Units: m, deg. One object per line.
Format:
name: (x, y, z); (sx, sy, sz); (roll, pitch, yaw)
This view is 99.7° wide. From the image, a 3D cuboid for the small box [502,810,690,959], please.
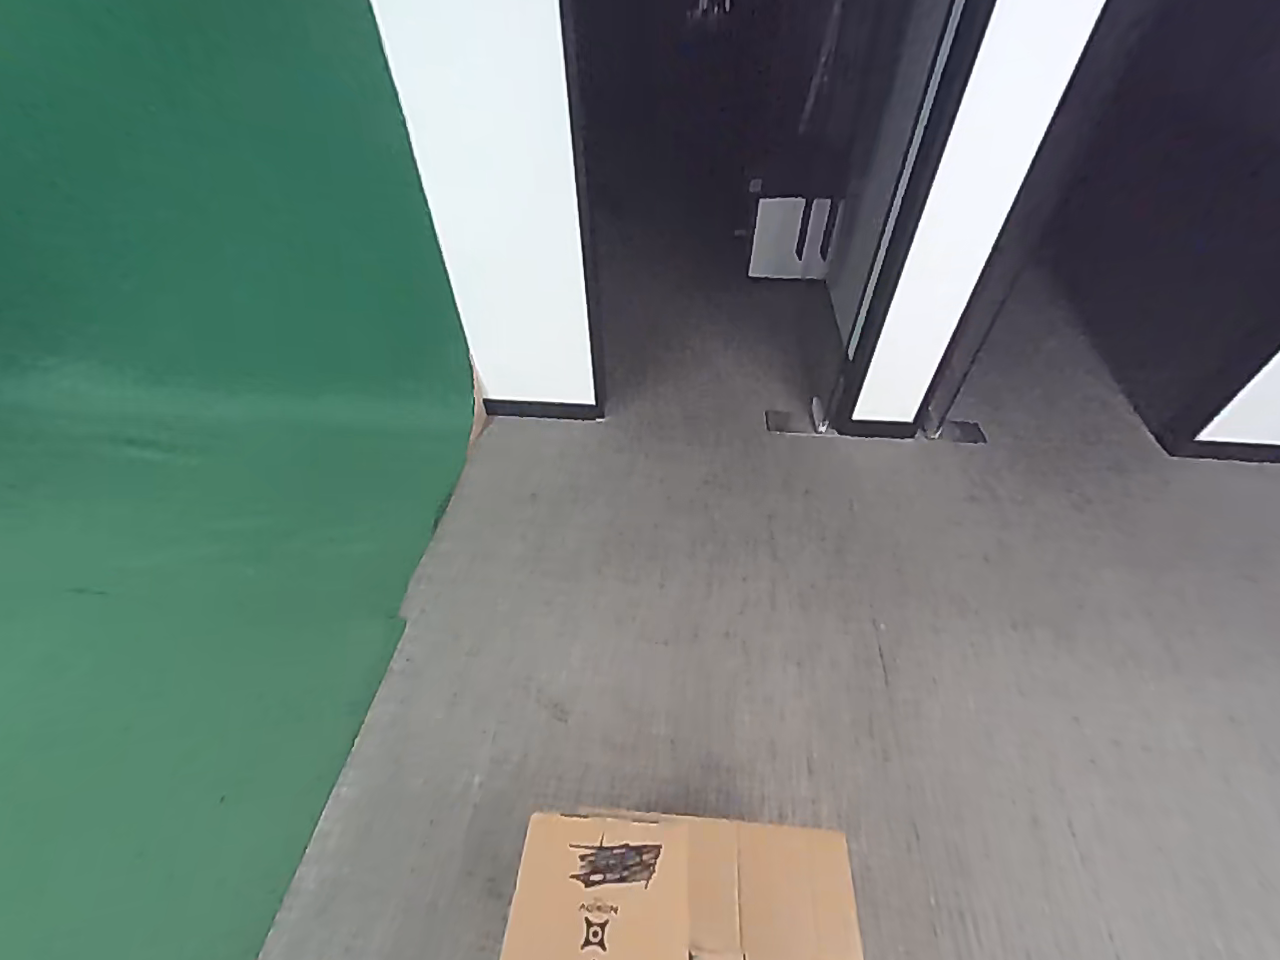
small box: (-0.036, 0.472, 0.553); (0.168, 0.176, 0.179); (1, 40, 6)
